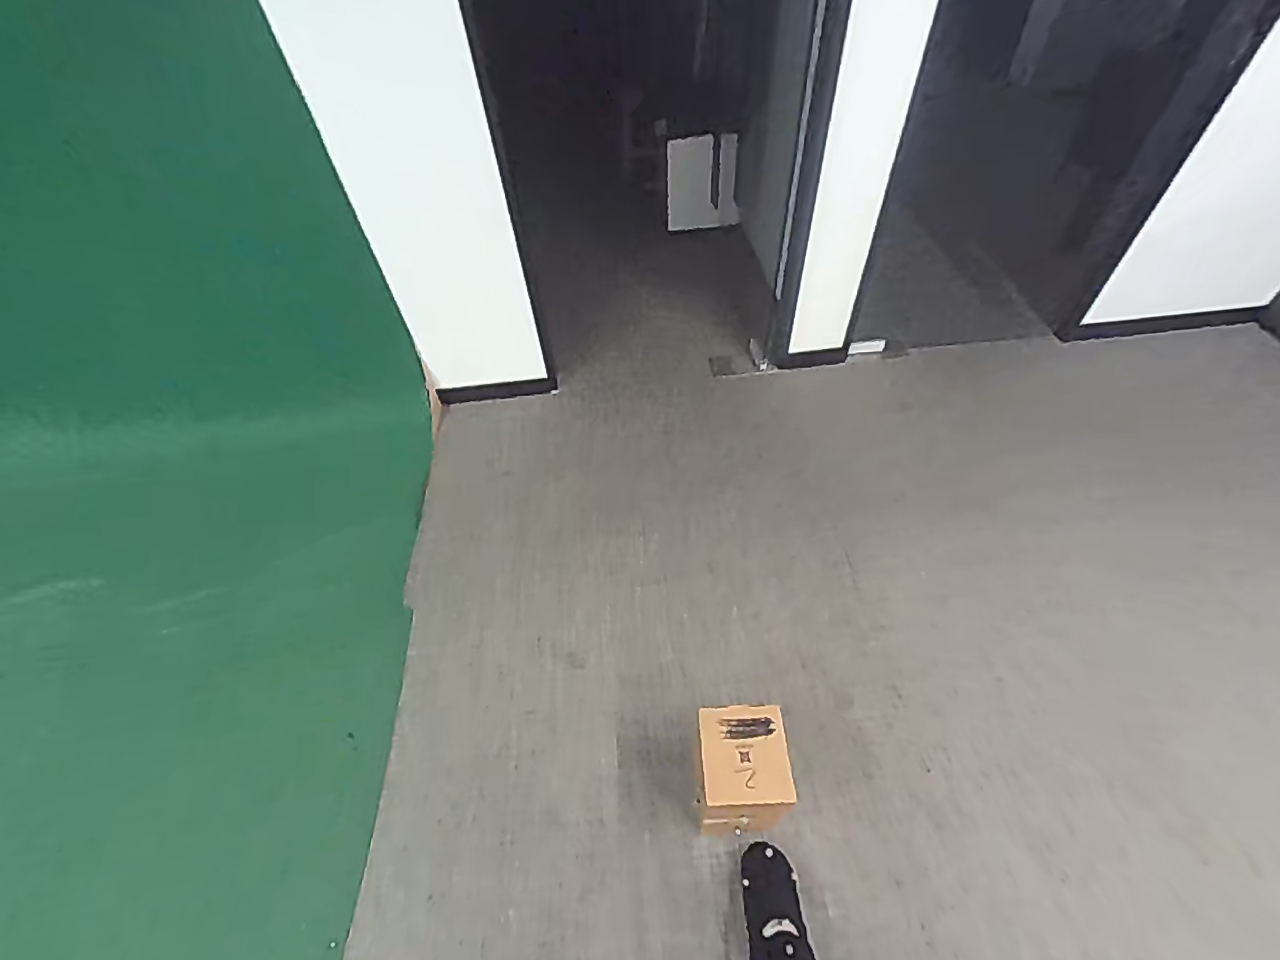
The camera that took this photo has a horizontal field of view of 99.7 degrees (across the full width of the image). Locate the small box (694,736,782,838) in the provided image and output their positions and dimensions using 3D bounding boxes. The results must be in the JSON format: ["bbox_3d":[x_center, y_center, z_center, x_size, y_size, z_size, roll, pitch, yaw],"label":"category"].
[{"bbox_3d":[0.211,0.692,1.212,0.168,0.176,0.179,-4,50,0],"label":"small box"}]
